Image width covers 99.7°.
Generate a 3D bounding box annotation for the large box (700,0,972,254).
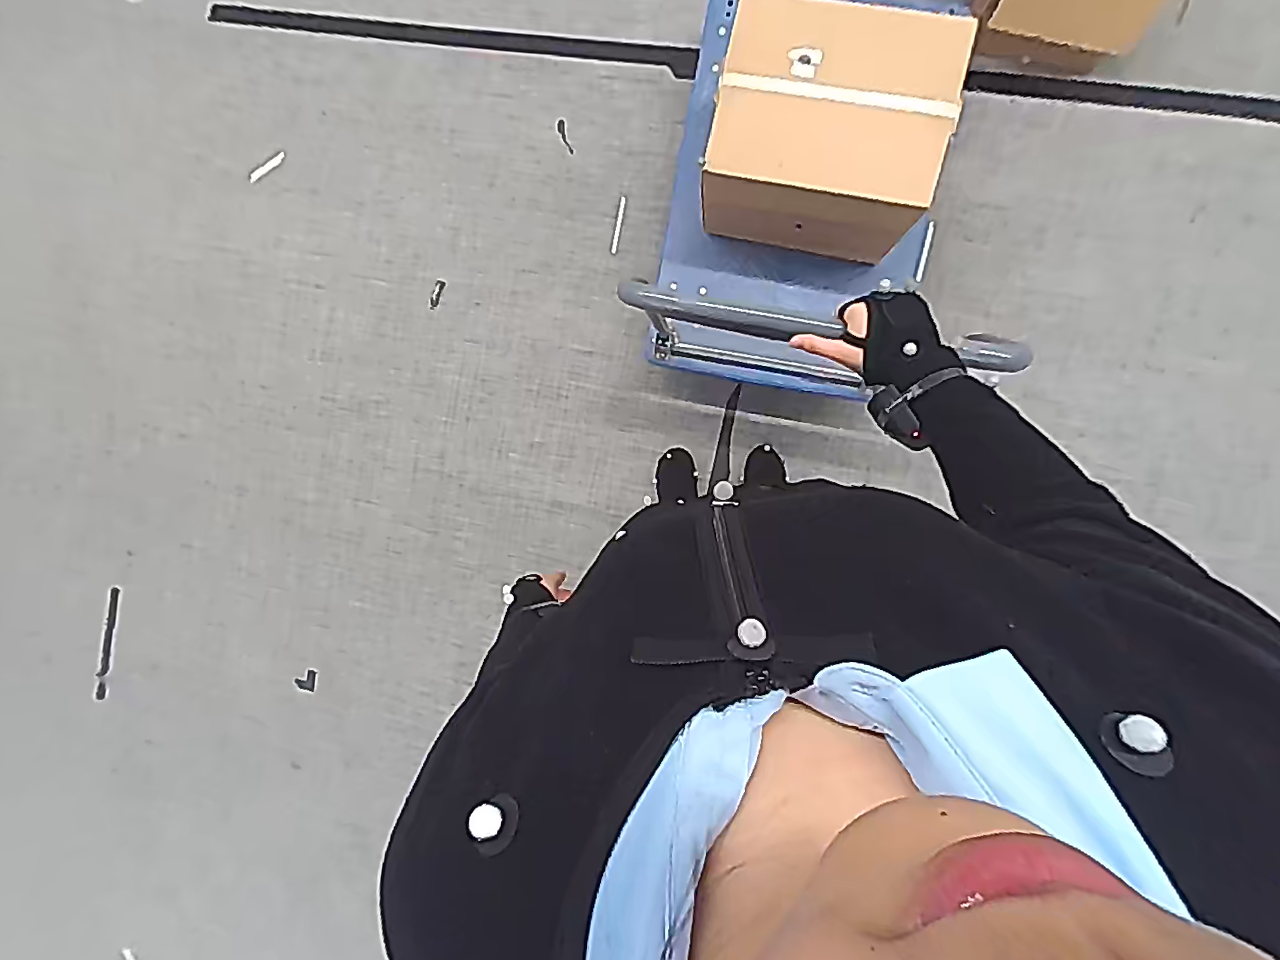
[{"bbox_3d":[0.352,-0.677,1.075,0.408,0.320,0.320,13,95,8],"label":"large box"}]
